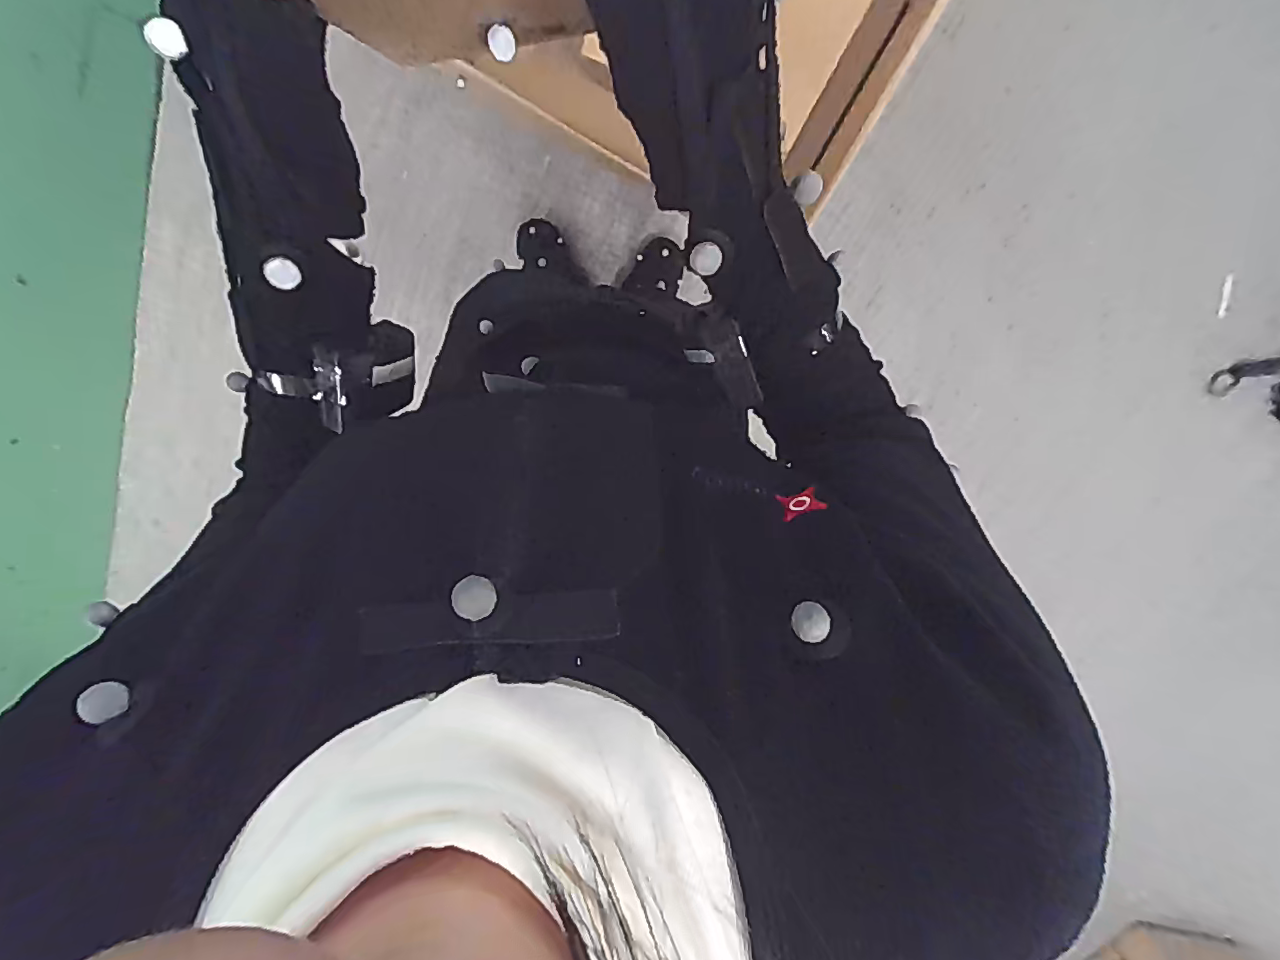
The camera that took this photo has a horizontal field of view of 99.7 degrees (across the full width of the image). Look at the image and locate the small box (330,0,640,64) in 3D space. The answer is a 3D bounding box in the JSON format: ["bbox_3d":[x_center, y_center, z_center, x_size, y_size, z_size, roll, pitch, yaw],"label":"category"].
[{"bbox_3d":[-0.091,-0.319,0.233,0.168,0.176,0.179,-8,116,5],"label":"small box"}]
